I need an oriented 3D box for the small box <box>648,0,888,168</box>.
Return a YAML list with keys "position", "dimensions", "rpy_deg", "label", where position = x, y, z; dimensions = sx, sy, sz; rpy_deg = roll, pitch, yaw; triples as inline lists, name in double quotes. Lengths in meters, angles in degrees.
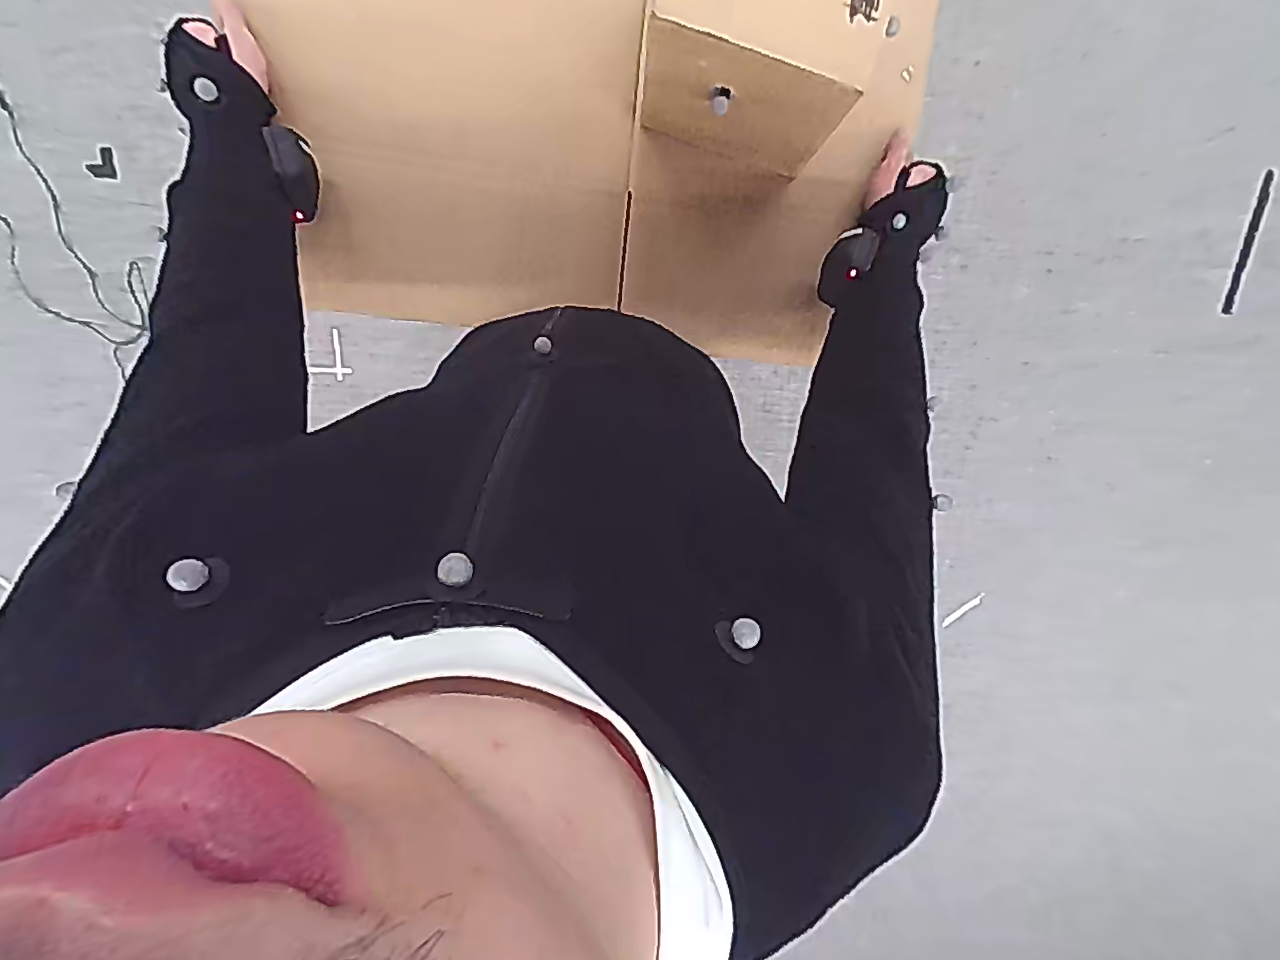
- position: [0.110, -0.414, 0.483]
  dimensions: [0.179, 0.176, 0.168]
  rpy_deg: [16, 98, -3]
  label: "small box"
